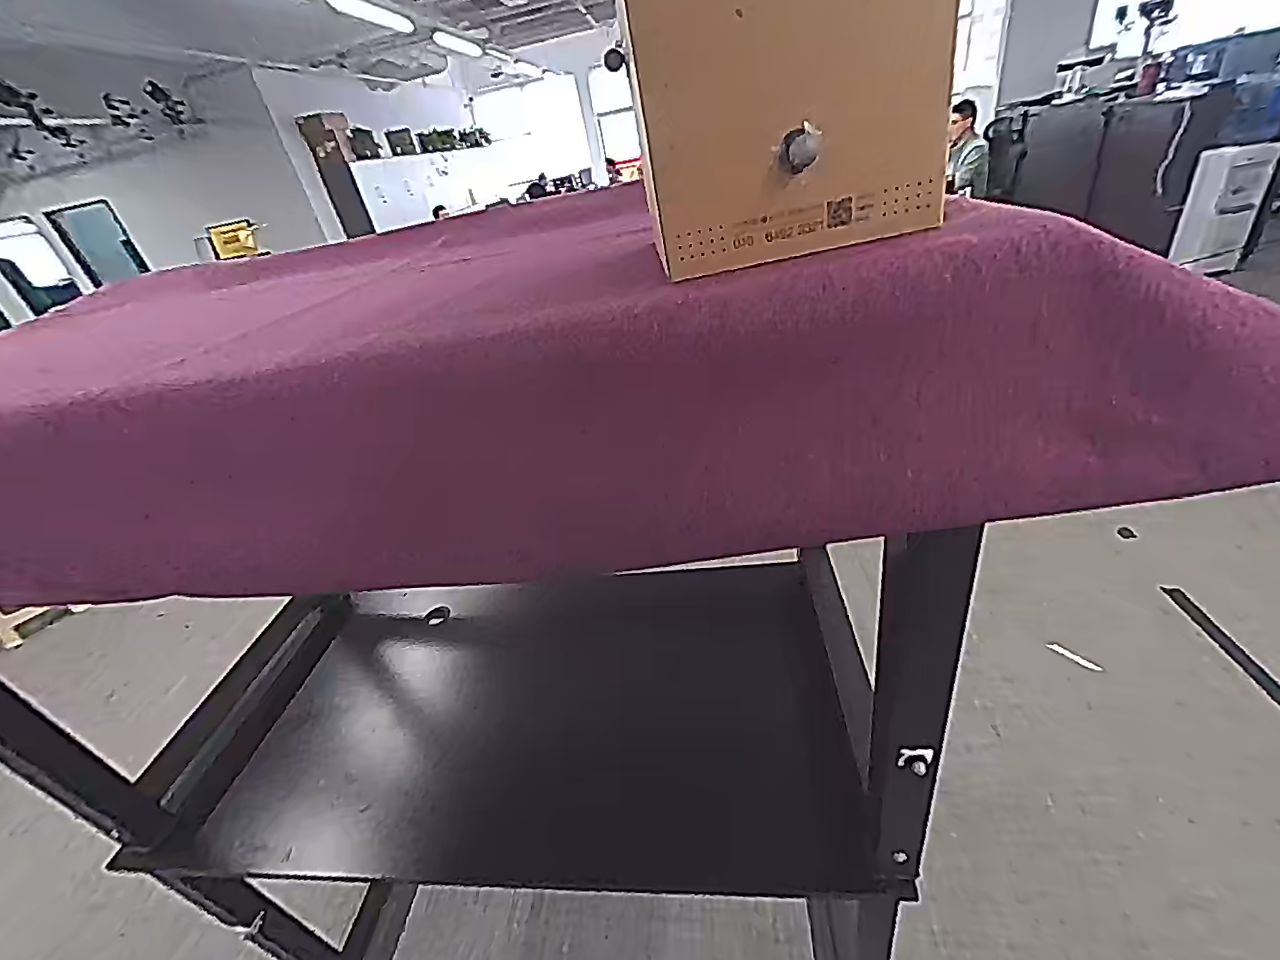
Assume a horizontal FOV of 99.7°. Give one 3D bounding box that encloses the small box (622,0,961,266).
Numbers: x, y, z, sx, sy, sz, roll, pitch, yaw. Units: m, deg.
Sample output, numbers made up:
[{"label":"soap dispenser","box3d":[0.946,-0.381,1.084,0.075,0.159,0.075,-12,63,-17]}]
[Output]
[{"label":"small box","box3d":[0.081,-0.250,0.356,0.168,0.176,0.179,-11,31,4]}]
